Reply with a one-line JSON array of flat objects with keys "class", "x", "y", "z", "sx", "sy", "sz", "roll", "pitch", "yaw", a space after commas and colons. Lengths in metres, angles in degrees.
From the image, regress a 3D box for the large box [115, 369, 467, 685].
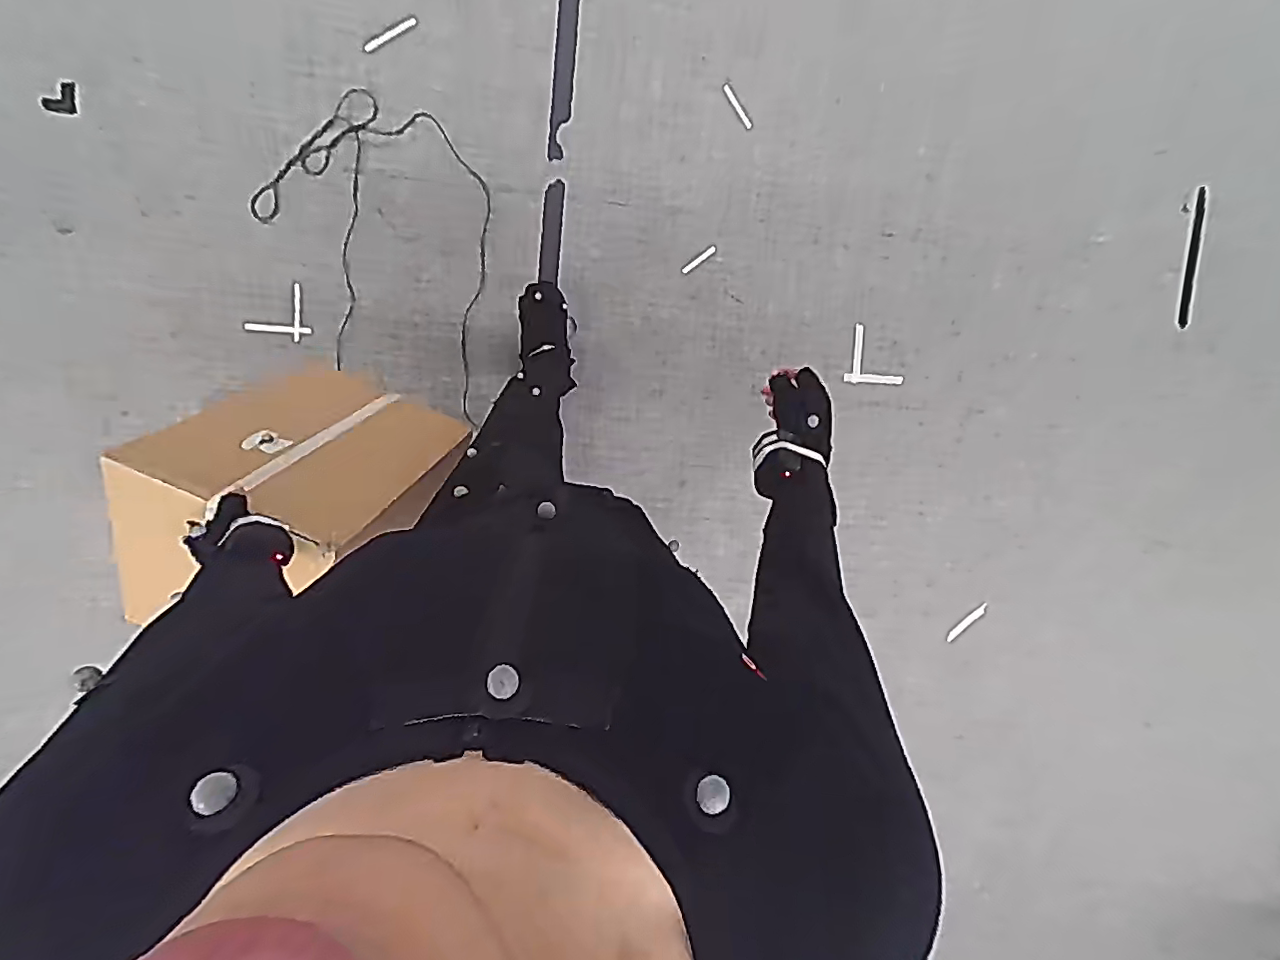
[{"class": "large box", "x": -0.554, "y": 0.058, "z": 0.938, "sx": 0.320, "sy": 0.408, "sz": 0.320, "roll": 22, "pitch": 120, "yaw": -1}]
